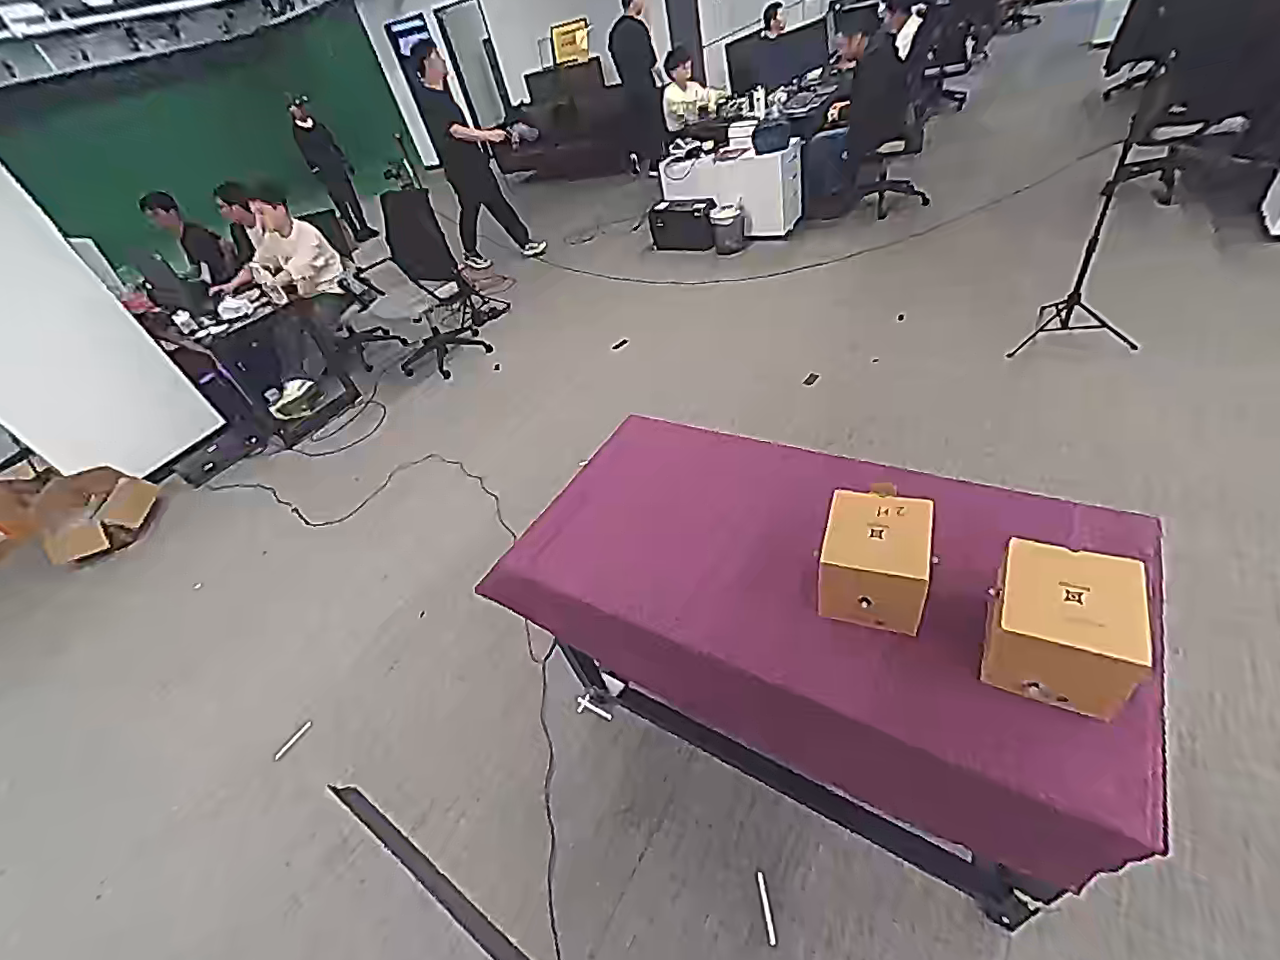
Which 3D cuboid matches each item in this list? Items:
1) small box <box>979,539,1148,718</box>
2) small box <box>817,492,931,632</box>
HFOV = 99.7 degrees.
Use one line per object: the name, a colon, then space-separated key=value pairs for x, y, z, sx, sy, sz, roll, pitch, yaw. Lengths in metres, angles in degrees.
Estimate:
small box: x=0.634 y=0.224 z=0.827 sx=0.168 sy=0.176 sz=0.179 roll=11 pitch=48 yaw=29
small box: x=0.421 y=0.149 z=0.979 sx=0.168 sy=0.176 sz=0.179 roll=7 pitch=46 yaw=25
